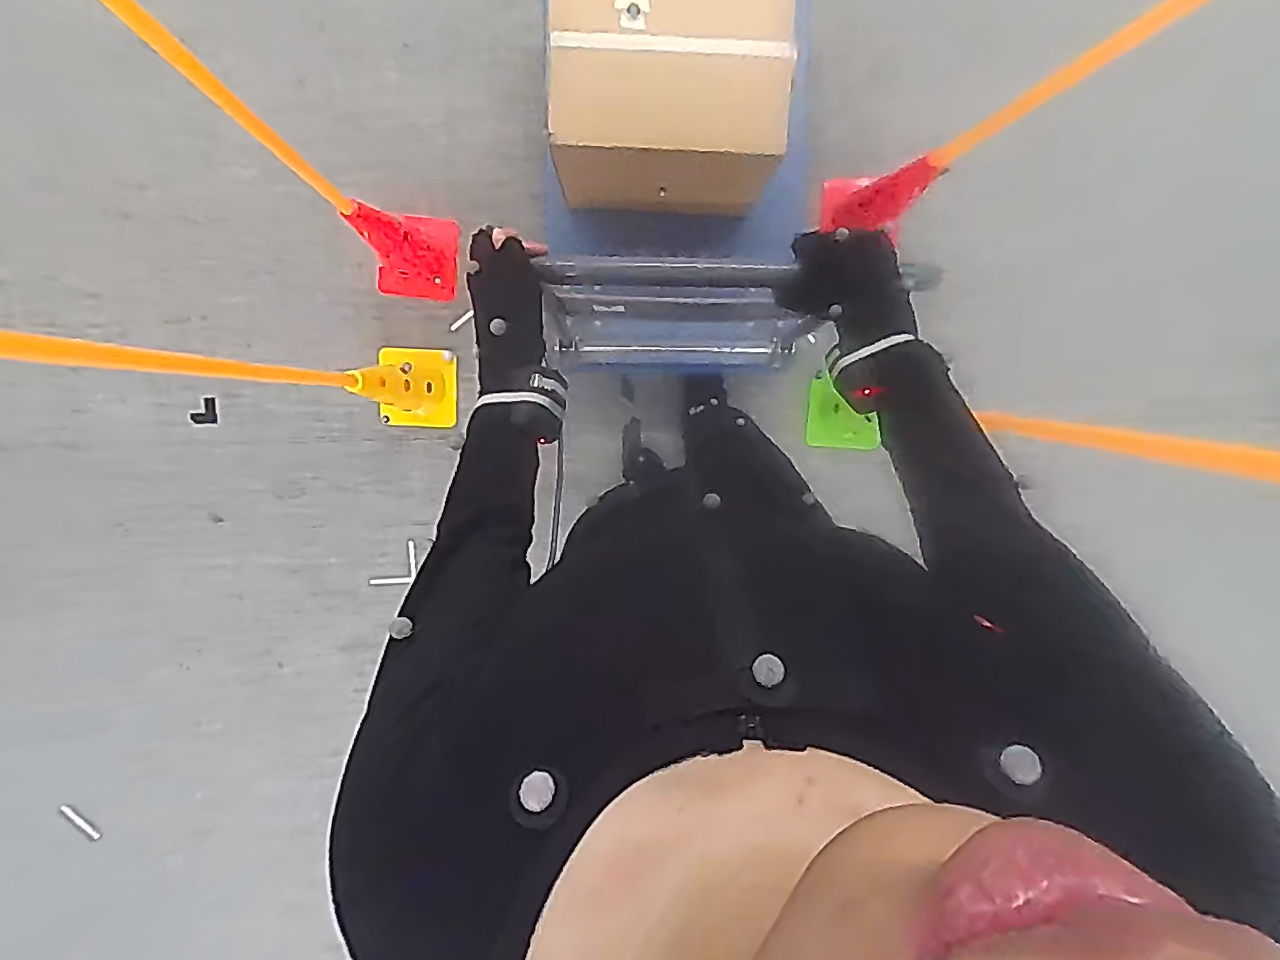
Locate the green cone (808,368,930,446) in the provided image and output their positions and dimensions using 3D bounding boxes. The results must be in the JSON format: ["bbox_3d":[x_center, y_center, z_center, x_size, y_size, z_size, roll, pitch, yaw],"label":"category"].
[{"bbox_3d":[0.557,-0.170,1.271,0.202,0.368,0.200,3,97,-2],"label":"green cone"}]

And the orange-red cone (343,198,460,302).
[{"bbox_3d":[-0.558,-0.546,1.209,0.198,0.360,0.199,6,96,-3],"label":"orange-red cone"}]

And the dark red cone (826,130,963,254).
[{"bbox_3d":[0.571,-0.649,1.192,0.201,0.394,0.202,-1,98,-3],"label":"dark red cone"}]

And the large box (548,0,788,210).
[{"bbox_3d":[0.046,-0.736,1.045,0.408,0.320,0.320,2,98,-1],"label":"large box"}]
